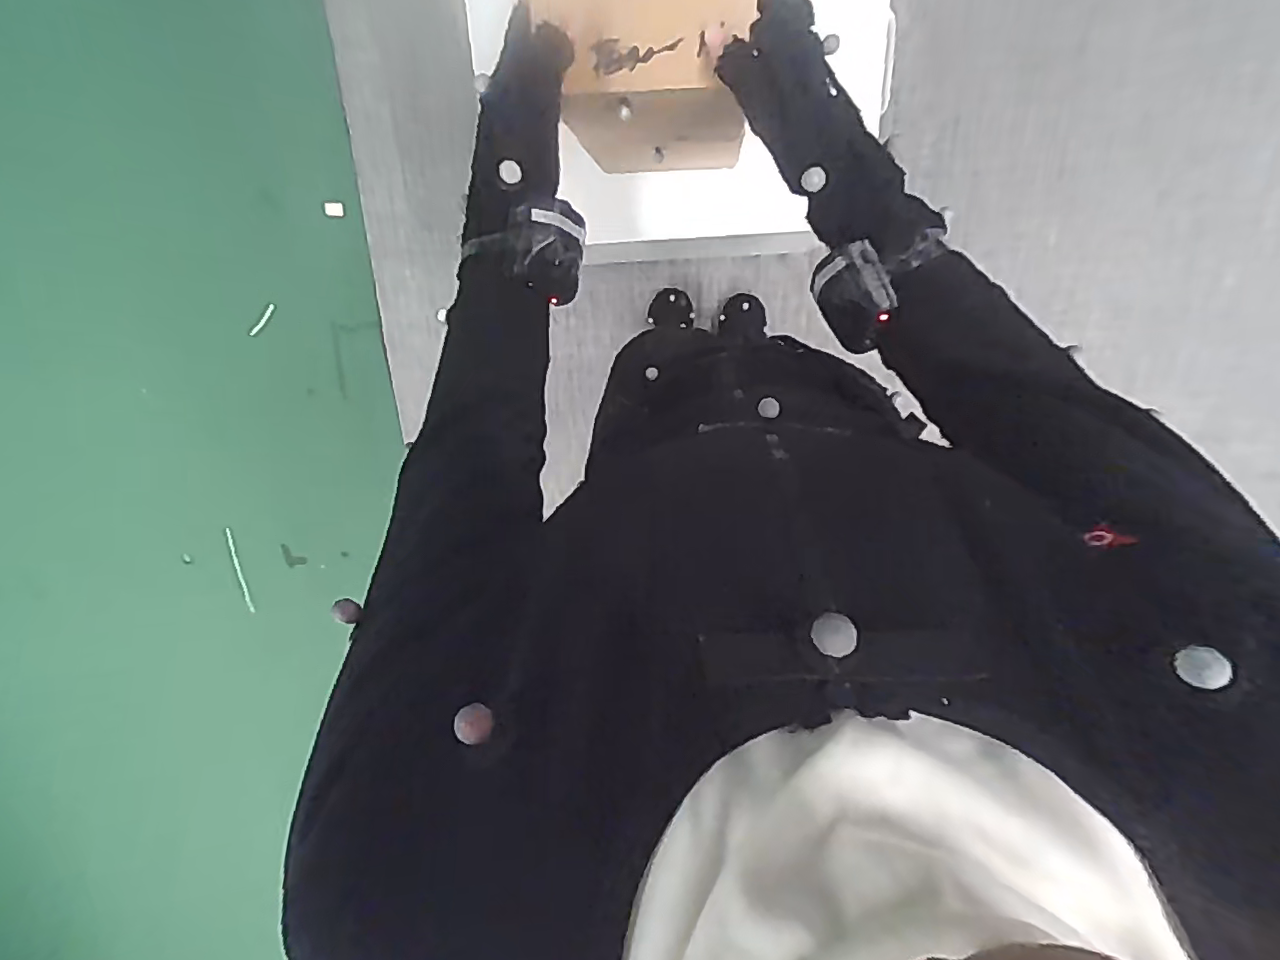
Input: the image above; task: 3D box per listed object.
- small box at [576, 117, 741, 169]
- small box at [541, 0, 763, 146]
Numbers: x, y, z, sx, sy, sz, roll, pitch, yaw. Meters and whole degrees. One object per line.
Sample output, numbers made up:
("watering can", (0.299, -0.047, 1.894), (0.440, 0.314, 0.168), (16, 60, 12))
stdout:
("small box", (0.028, -0.459, 0.608), (0.179, 0.176, 0.168), (1, 110, 6))
("small box", (0.014, -0.406, 0.458), (0.168, 0.176, 0.179), (-1, 111, 7))
